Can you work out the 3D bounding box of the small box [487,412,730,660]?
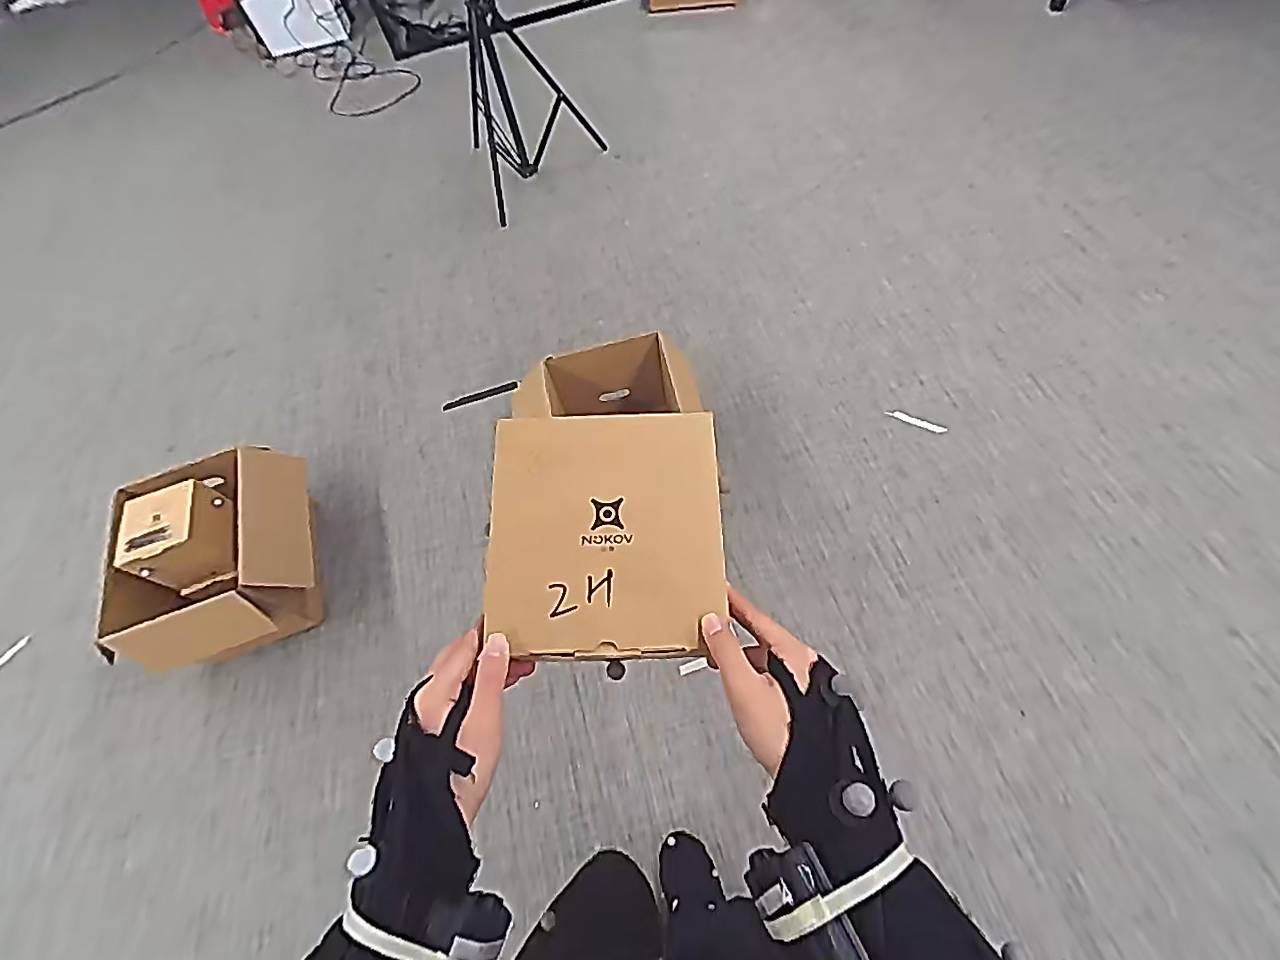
[{"bbox_3d":[-0.022,0.058,0.465,0.168,0.176,0.179,-2,69,0],"label":"small box"}]
